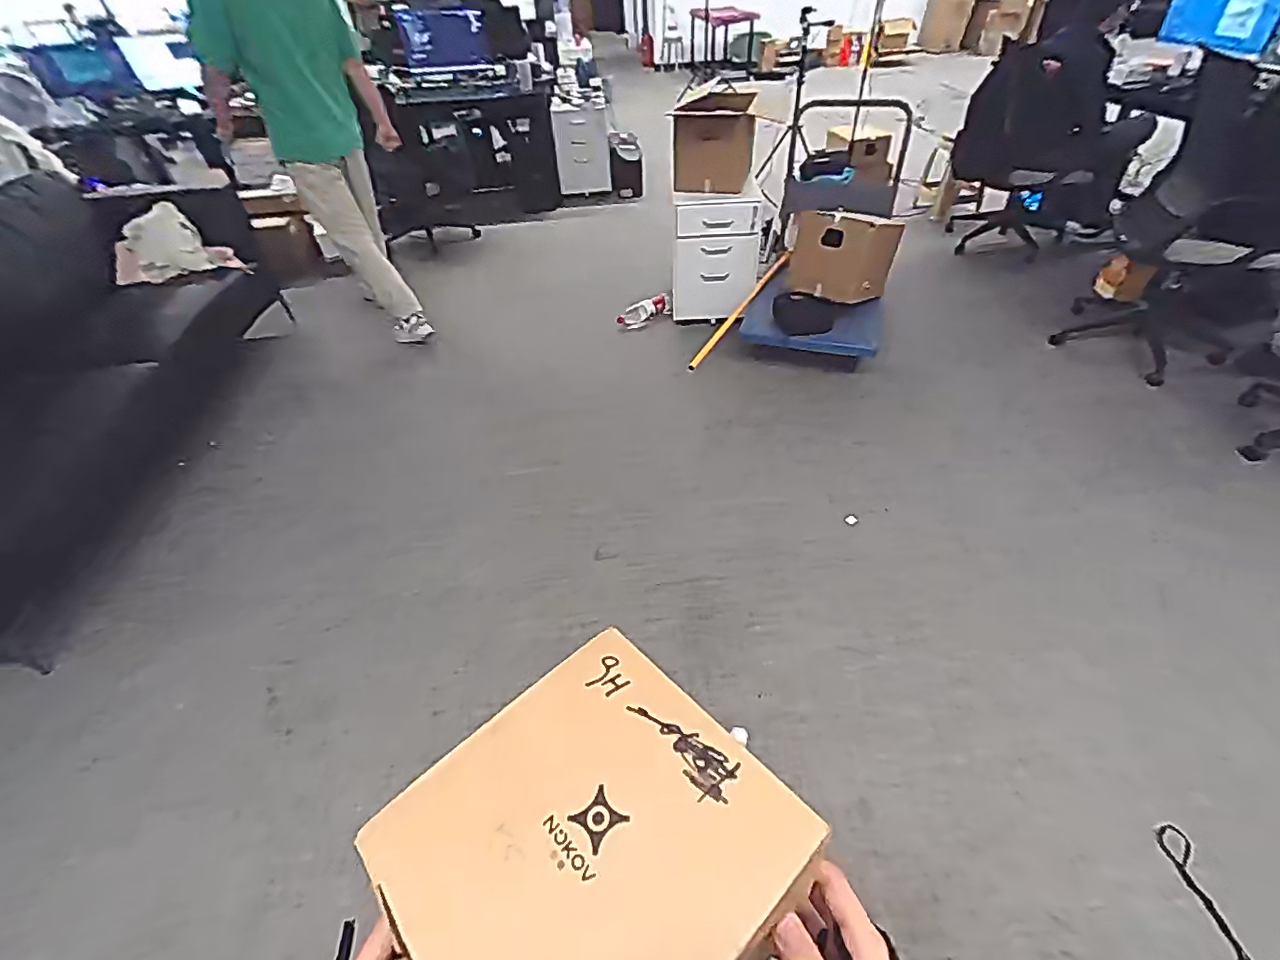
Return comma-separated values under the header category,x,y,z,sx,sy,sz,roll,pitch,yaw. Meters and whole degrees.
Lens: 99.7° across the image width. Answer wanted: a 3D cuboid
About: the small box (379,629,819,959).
category,x,y,z,sx,sy,sz,roll,pitch,yaw
small box,-0.014,0.237,0.329,0.179,0.176,0.168,-35,47,-27
